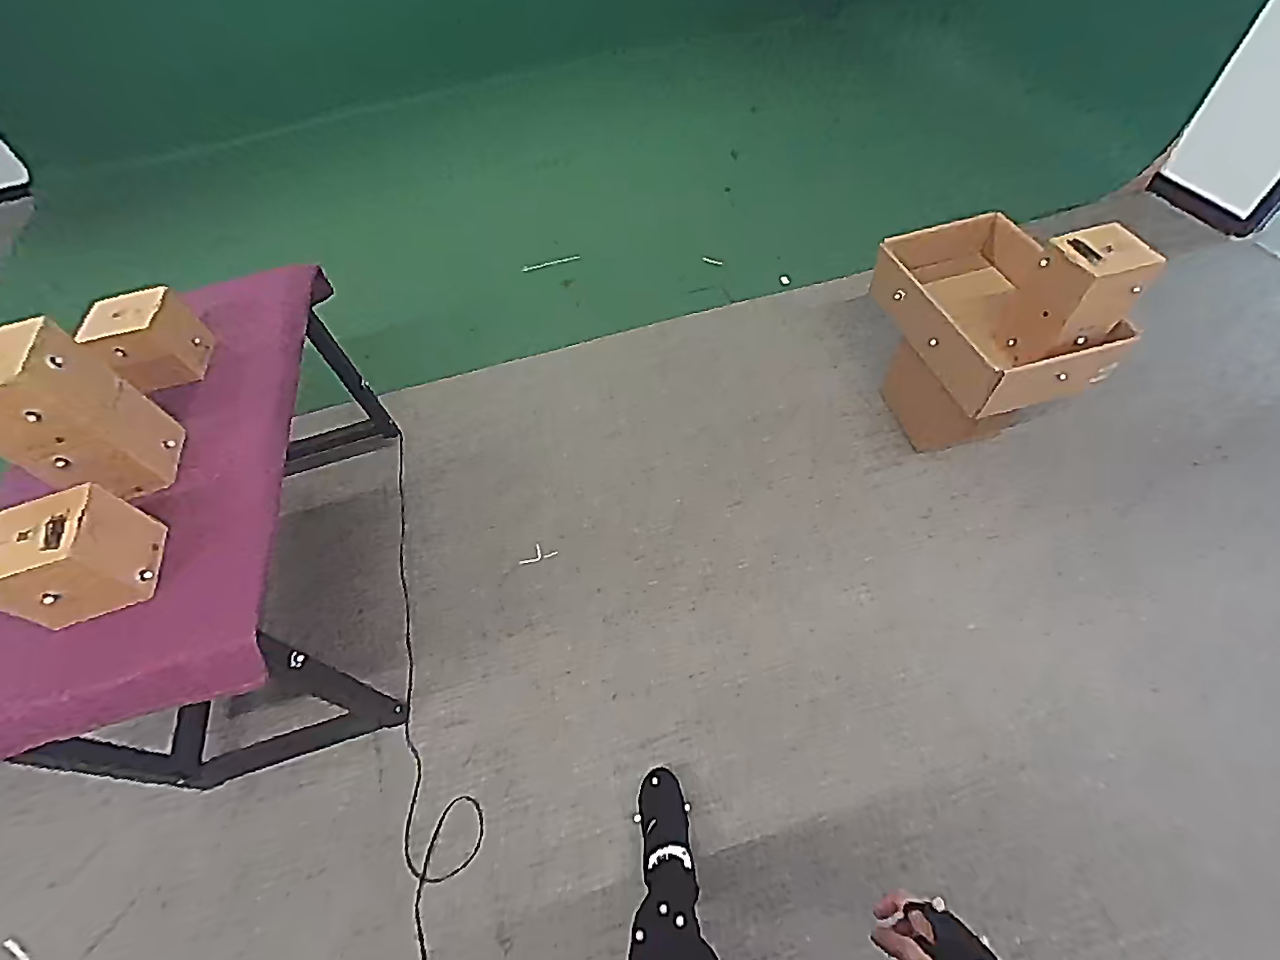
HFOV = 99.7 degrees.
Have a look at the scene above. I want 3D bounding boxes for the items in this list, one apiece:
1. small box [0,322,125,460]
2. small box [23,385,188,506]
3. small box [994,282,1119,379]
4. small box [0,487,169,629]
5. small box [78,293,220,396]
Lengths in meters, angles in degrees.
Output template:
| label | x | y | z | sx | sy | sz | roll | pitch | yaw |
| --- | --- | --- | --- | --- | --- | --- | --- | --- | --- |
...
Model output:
| label | x | y | z | sx | sy | sz | roll | pitch | yaw |
| --- | --- | --- | --- | --- | --- | --- | --- | --- | --- |
| small box | -1.127 | -0.157 | 1.010 | 0.168 | 0.176 | 0.179 | -19 | 55 | -7 |
| small box | -1.111 | -0.065 | 1.145 | 0.168 | 0.176 | 0.179 | -19 | 55 | -6 |
| small box | 1.117 | -0.403 | 1.468 | 0.179 | 0.176 | 0.168 | -15 | 56 | -2 |
| small box | -1.017 | 0.146 | 0.982 | 0.179 | 0.176 | 0.168 | -19 | 54 | -5 |
| small box | -1.206 | -0.331 | 1.345 | 0.179 | 0.176 | 0.168 | -14 | 55 | -3 |
